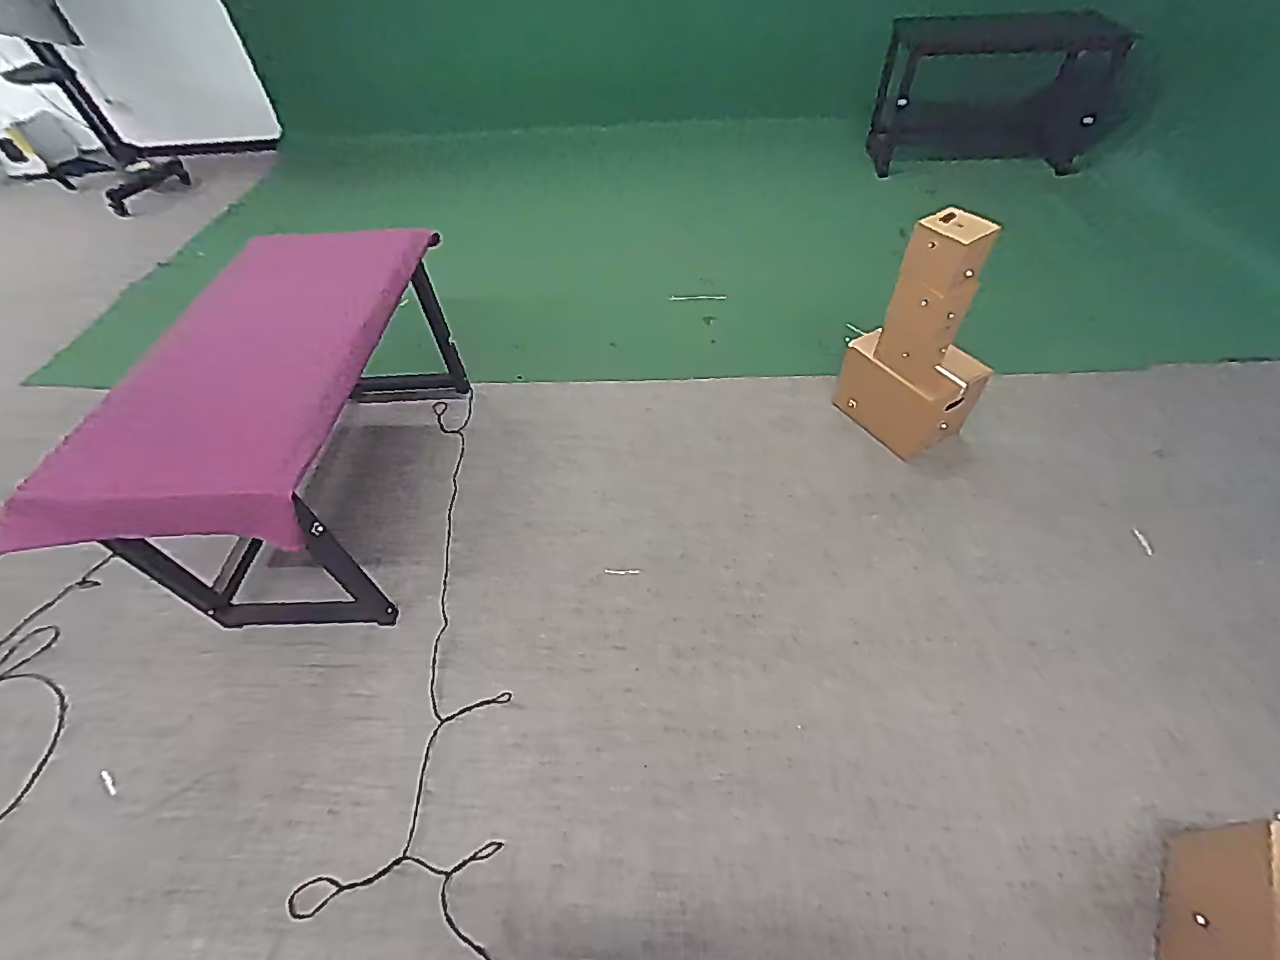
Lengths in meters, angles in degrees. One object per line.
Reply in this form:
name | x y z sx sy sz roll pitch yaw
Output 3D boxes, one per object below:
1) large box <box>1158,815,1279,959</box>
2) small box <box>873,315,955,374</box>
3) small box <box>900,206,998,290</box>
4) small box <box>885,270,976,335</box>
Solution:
large box | 1.275 0.956 1.036 0.320 0.320 0.408 26 56 21
small box | 0.966 -0.497 1.922 0.168 0.176 0.179 -26 53 -16
small box | 0.949 -0.719 1.680 0.168 0.176 0.179 -29 55 -19
small box | 0.957 -0.601 1.795 0.168 0.176 0.179 -23 53 -16
